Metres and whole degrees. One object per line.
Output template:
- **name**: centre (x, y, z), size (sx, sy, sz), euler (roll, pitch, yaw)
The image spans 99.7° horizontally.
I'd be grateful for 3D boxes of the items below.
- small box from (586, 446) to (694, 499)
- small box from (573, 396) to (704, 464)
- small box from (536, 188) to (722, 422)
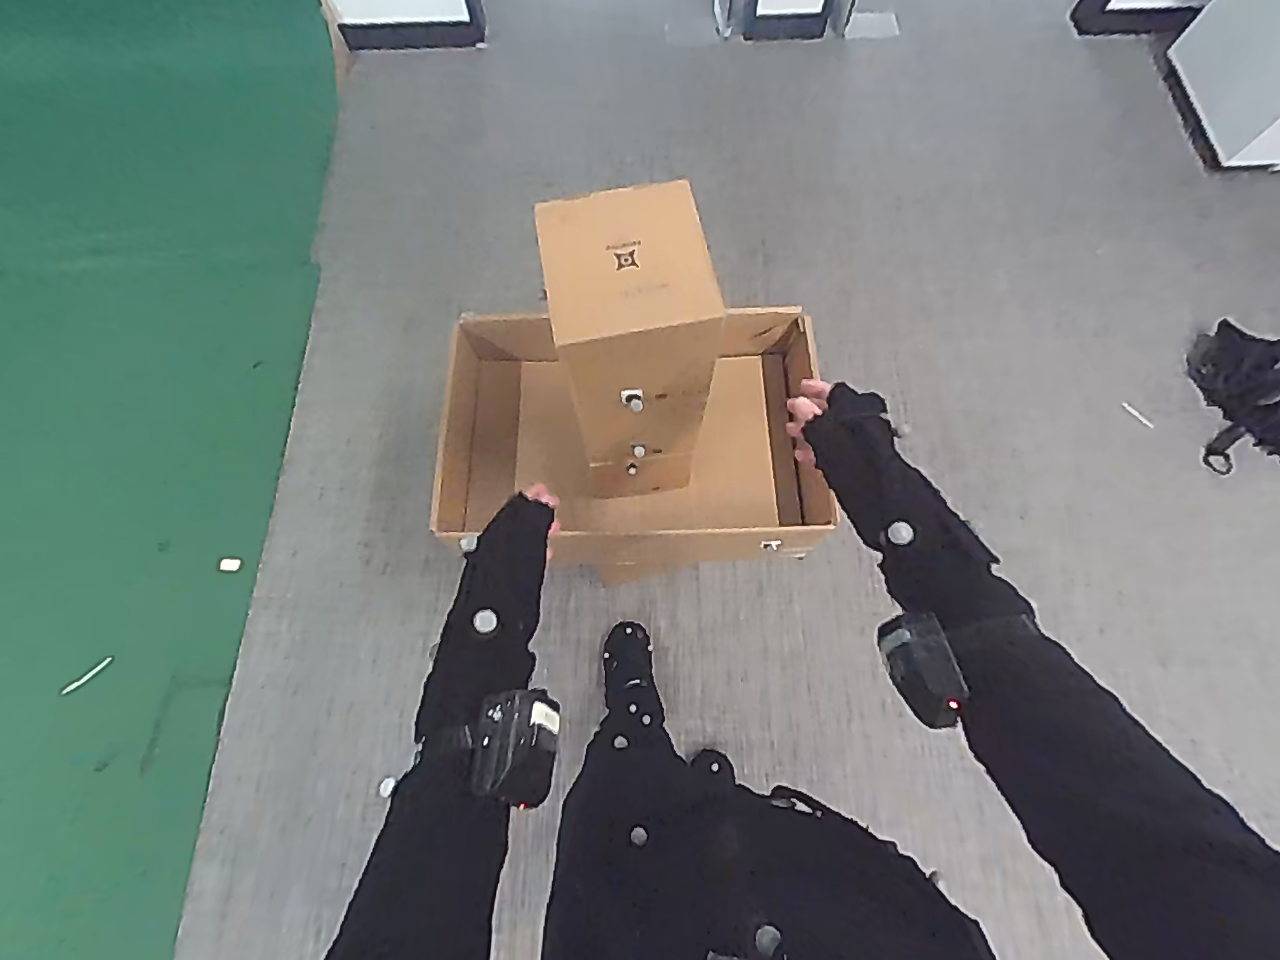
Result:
- **small box**: centre (-0.007, -0.082, 0.924), size (0.168, 0.176, 0.179), euler (-8, 70, -1)
- **small box**: centre (-0.009, -0.139, 0.770), size (0.168, 0.176, 0.179), euler (-7, 71, -1)
- **small box**: centre (-0.013, -0.190, 0.617), size (0.168, 0.176, 0.179), euler (-11, 72, -1)
